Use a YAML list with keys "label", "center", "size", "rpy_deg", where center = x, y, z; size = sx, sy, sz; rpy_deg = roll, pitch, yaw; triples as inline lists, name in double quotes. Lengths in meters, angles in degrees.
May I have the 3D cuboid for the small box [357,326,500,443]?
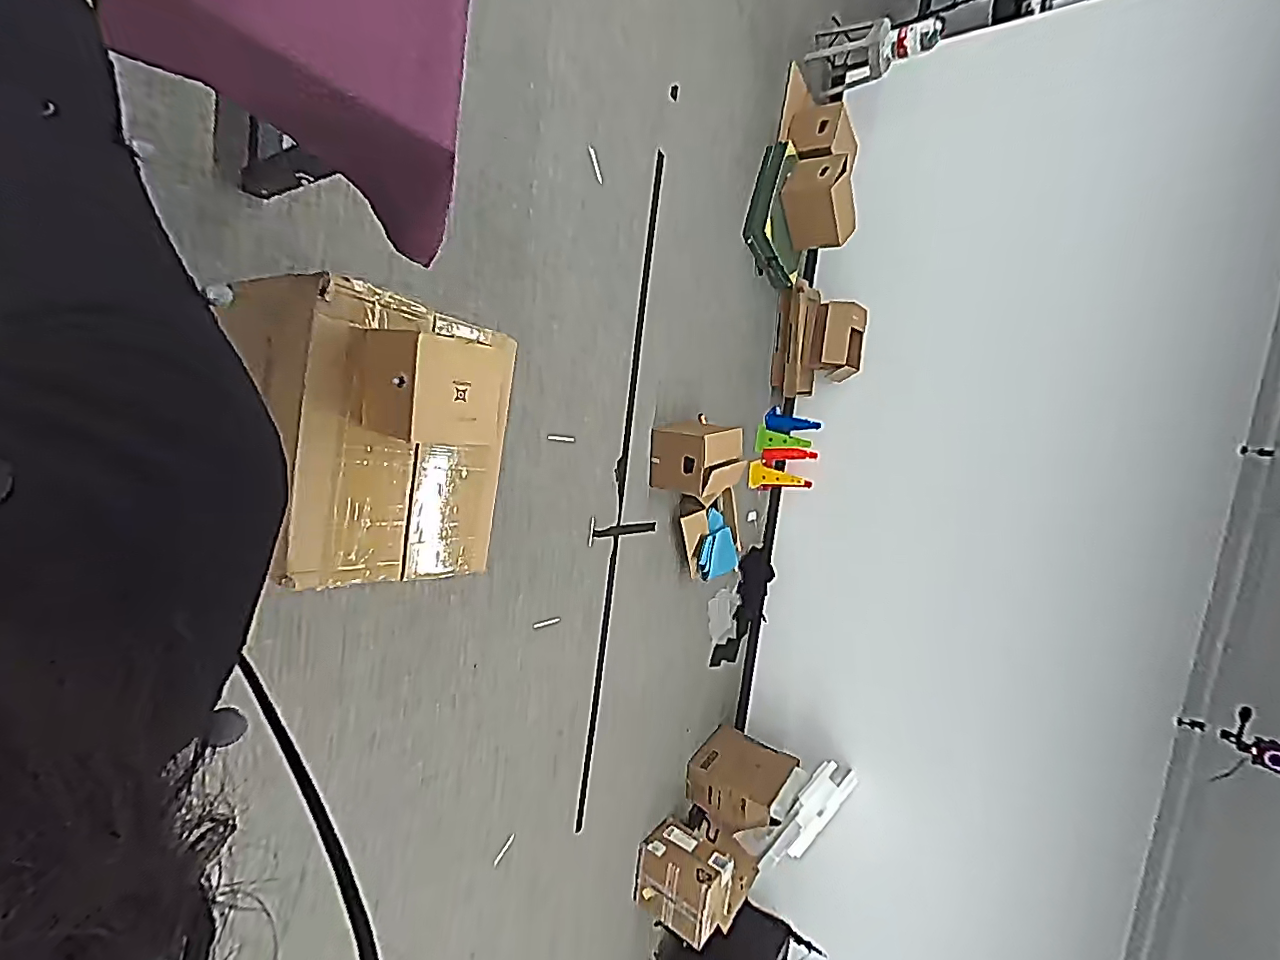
- label: "small box"
  center: [-0.366, -0.163, 0.933]
  size: [0.168, 0.176, 0.179]
  rpy_deg: [-2, 102, -52]
